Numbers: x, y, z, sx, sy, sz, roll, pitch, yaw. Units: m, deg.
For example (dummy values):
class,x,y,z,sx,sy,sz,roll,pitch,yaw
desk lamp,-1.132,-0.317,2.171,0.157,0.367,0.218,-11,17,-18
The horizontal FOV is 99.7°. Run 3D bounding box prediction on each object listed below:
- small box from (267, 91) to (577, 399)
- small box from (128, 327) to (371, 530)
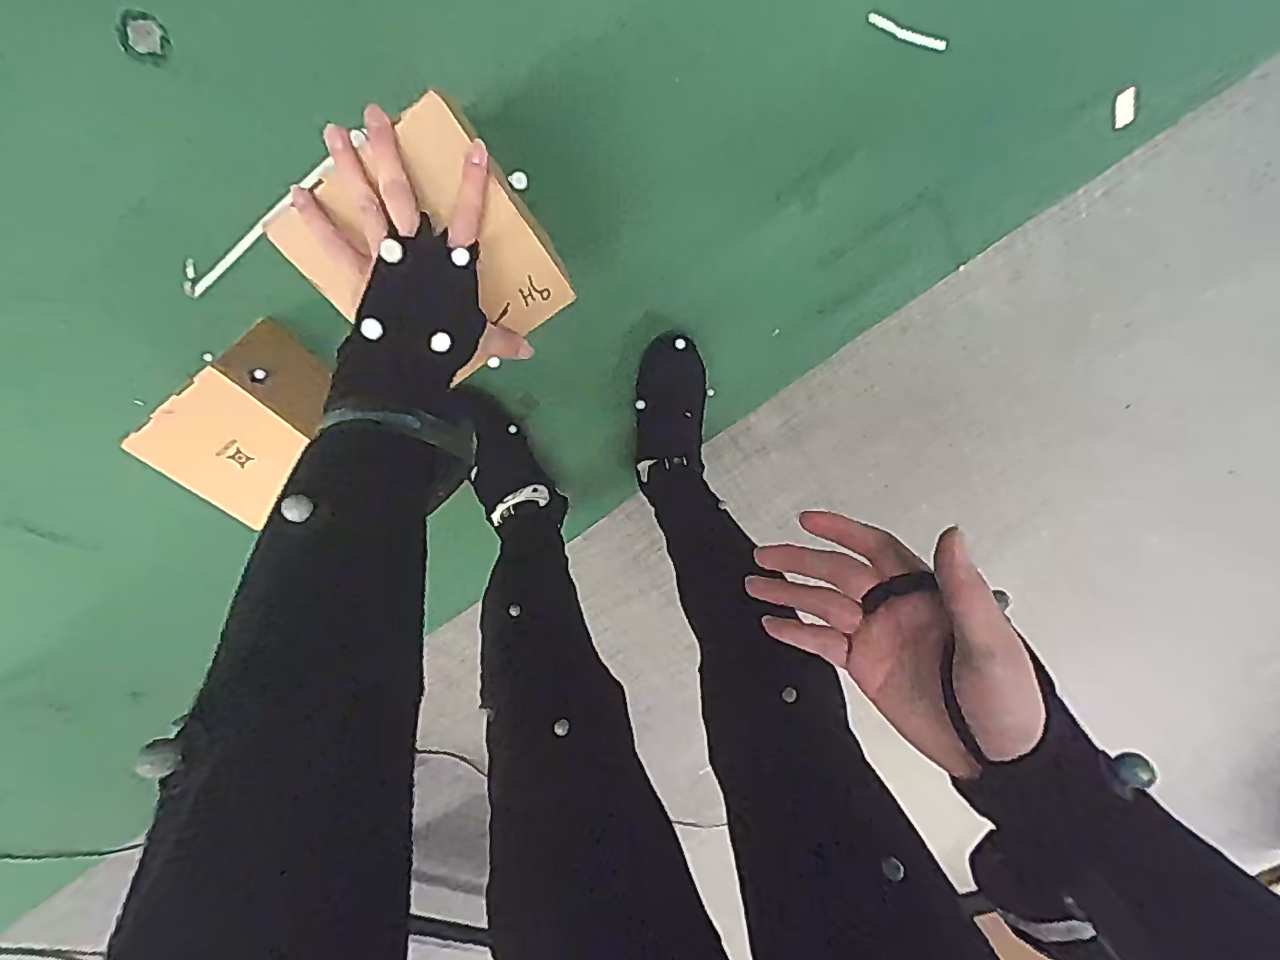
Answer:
class,x,y,z,sx,sy,sz,roll,pitch,yaw
small box,-0.181,-0.212,0.496,0.168,0.176,0.179,-32,124,8
small box,-0.501,-0.073,0.728,0.168,0.176,0.179,-34,123,12
